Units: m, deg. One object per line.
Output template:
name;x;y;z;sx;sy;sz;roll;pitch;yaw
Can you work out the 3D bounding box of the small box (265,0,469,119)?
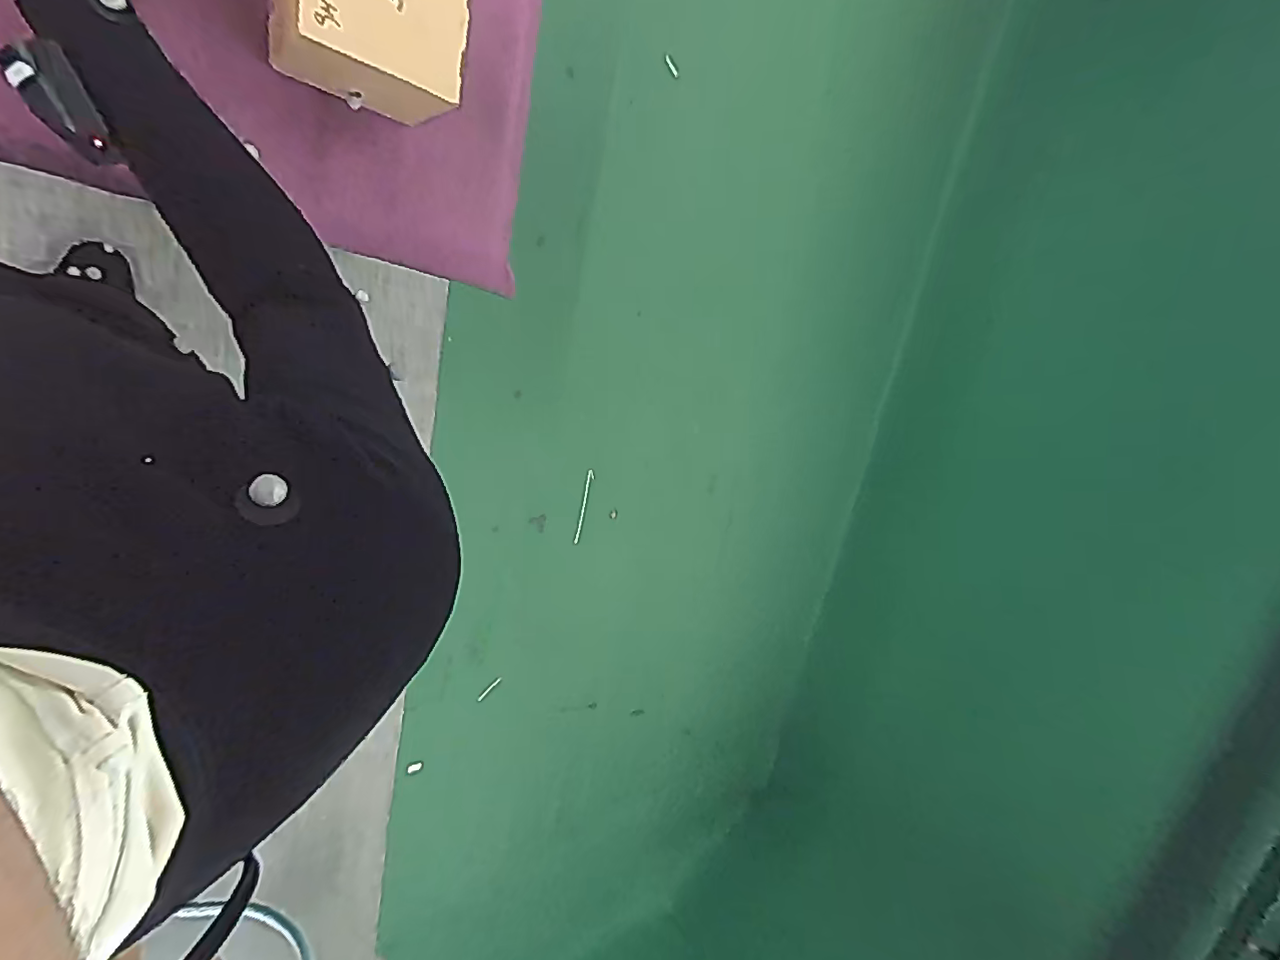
small box;-0.327;-0.560;0.650;0.179;0.176;0.168;-4;111;-44
